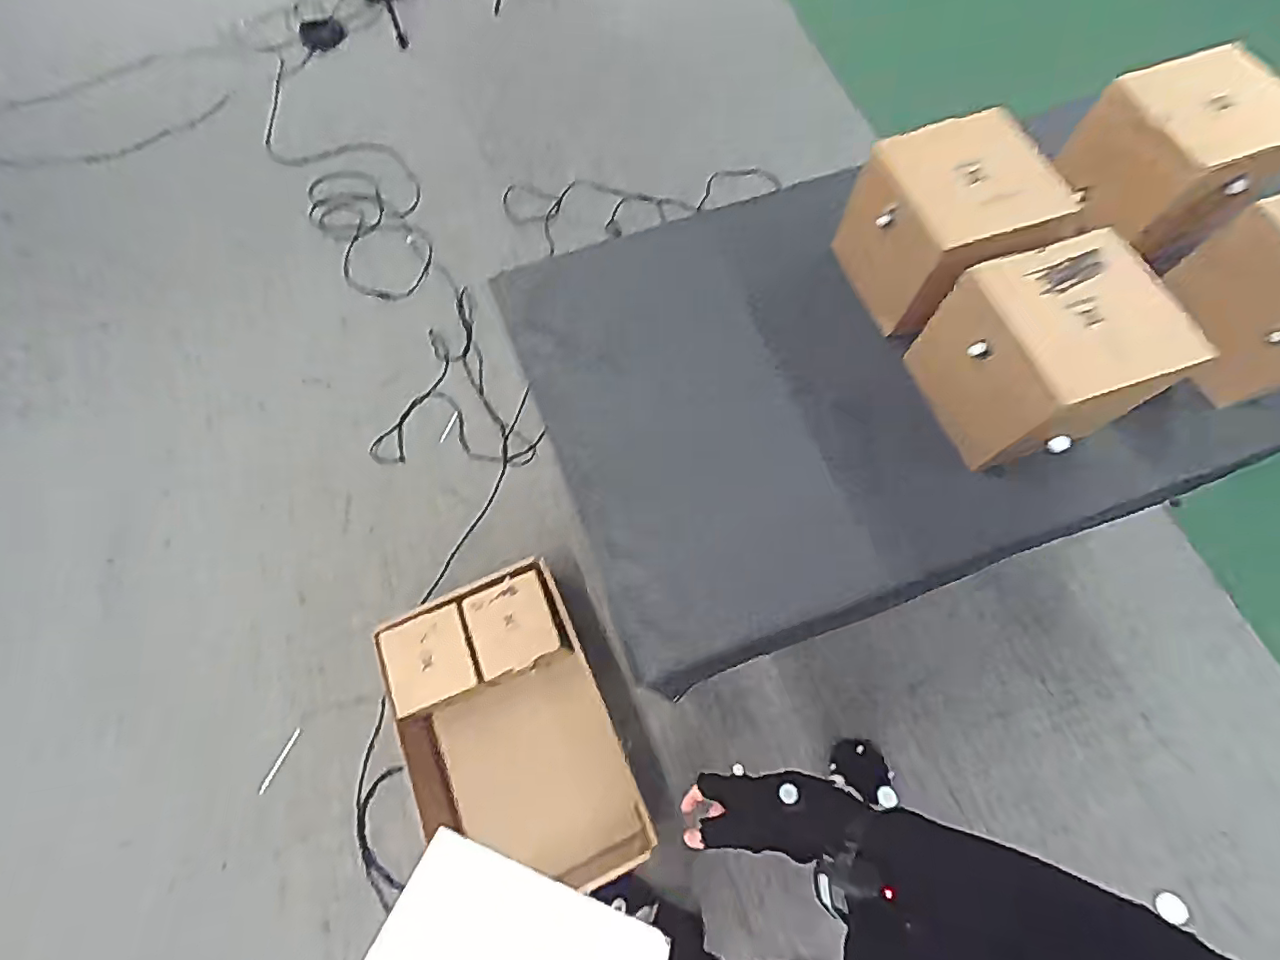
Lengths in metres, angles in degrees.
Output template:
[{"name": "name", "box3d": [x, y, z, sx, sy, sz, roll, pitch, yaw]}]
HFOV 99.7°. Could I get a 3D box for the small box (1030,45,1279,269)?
[{"name": "small box", "box3d": [0.681, -0.416, 0.715, 0.179, 0.176, 0.168, -20, 69, -4]}]
